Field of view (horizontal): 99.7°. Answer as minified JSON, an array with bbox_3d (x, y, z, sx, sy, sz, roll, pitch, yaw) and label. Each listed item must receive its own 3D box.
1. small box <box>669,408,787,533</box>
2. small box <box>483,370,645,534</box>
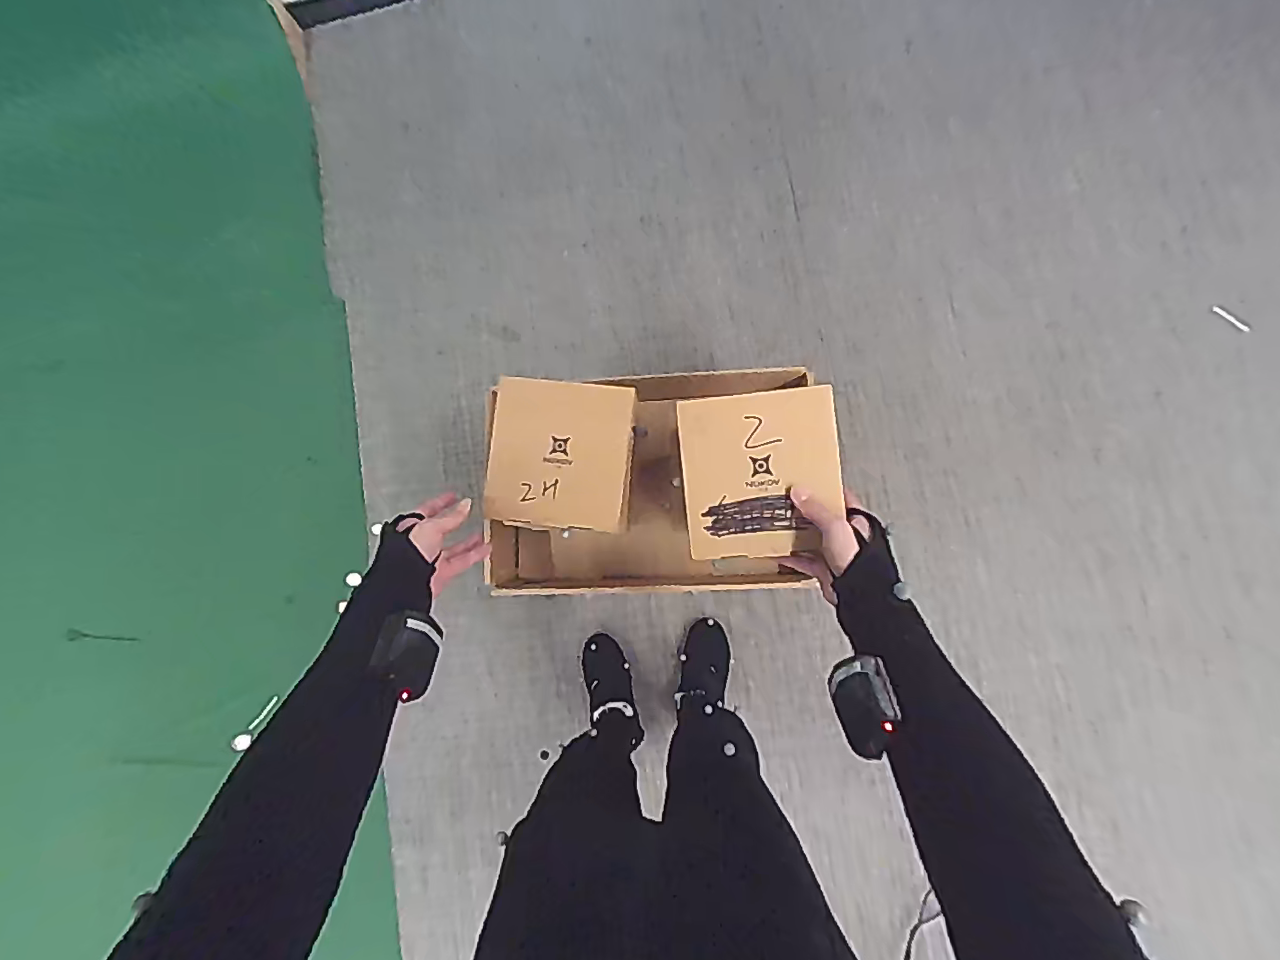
[{"bbox_3d":[0.133,-0.005,0.845,0.168,0.176,0.179,-2,82,6],"label":"small box"},{"bbox_3d":[-0.086,-0.027,0.709,0.168,0.176,0.179,8,85,4],"label":"small box"}]
